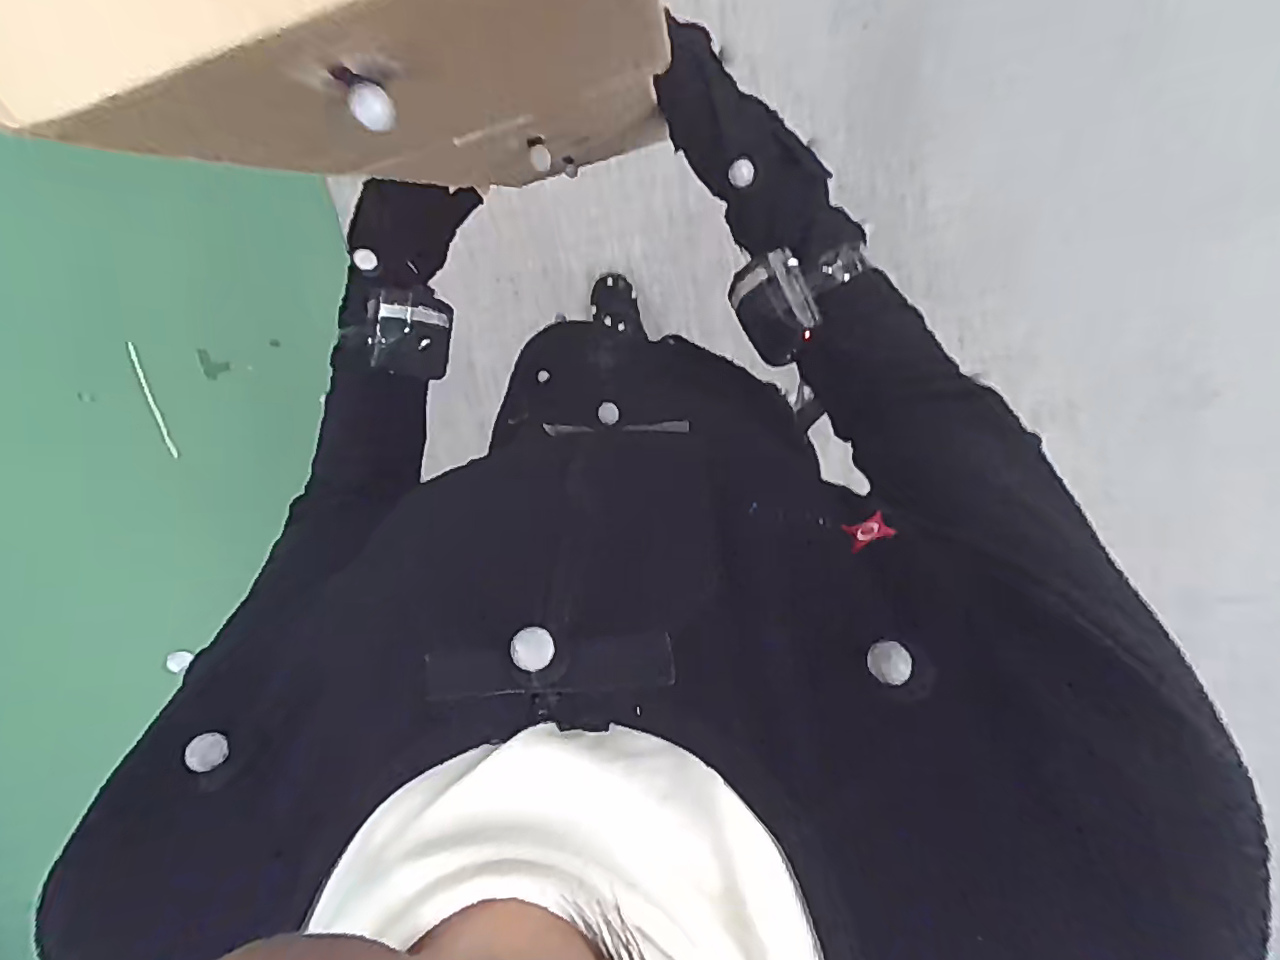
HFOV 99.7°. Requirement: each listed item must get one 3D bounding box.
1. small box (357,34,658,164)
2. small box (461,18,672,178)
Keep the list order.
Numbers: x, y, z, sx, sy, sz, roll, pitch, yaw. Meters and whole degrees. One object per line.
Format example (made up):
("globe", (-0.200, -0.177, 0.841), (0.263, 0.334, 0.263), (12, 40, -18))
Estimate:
("small box", (-0.089, -0.302, 0.315), (0.168, 0.176, 0.179), (-13, 114, 11))
("small box", (-0.073, -0.373, 0.460), (0.179, 0.176, 0.168), (-11, 114, 11))
